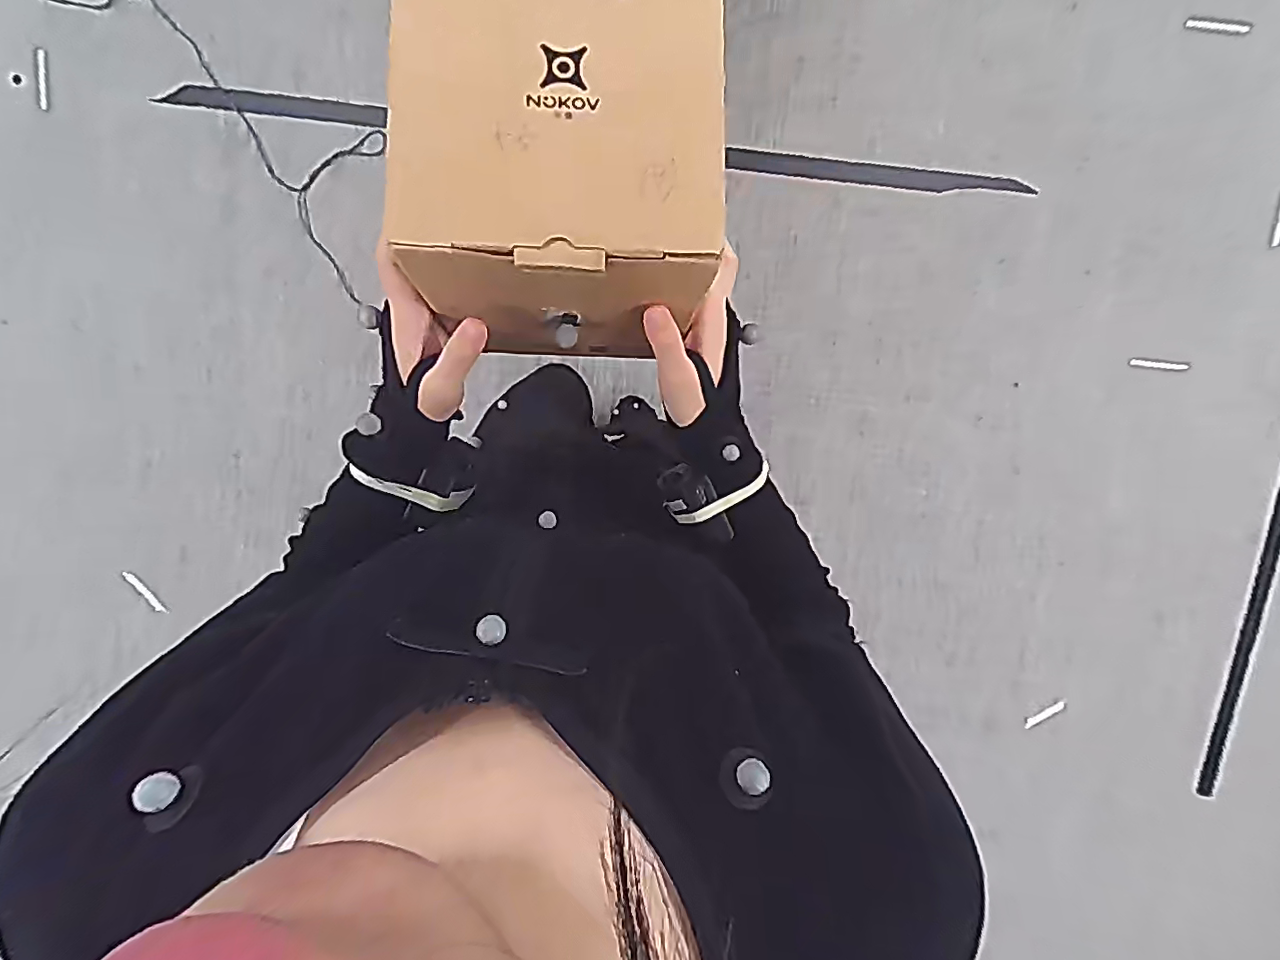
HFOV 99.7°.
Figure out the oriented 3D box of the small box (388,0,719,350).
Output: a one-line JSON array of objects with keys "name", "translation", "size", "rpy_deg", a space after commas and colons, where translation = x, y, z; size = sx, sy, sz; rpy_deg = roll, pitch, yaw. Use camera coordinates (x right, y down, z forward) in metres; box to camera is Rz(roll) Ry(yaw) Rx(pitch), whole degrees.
[{"name": "small box", "translation": [-0.047, -0.192, 0.353], "size": [0.168, 0.176, 0.179], "rpy_deg": [1, 86, -5]}]
